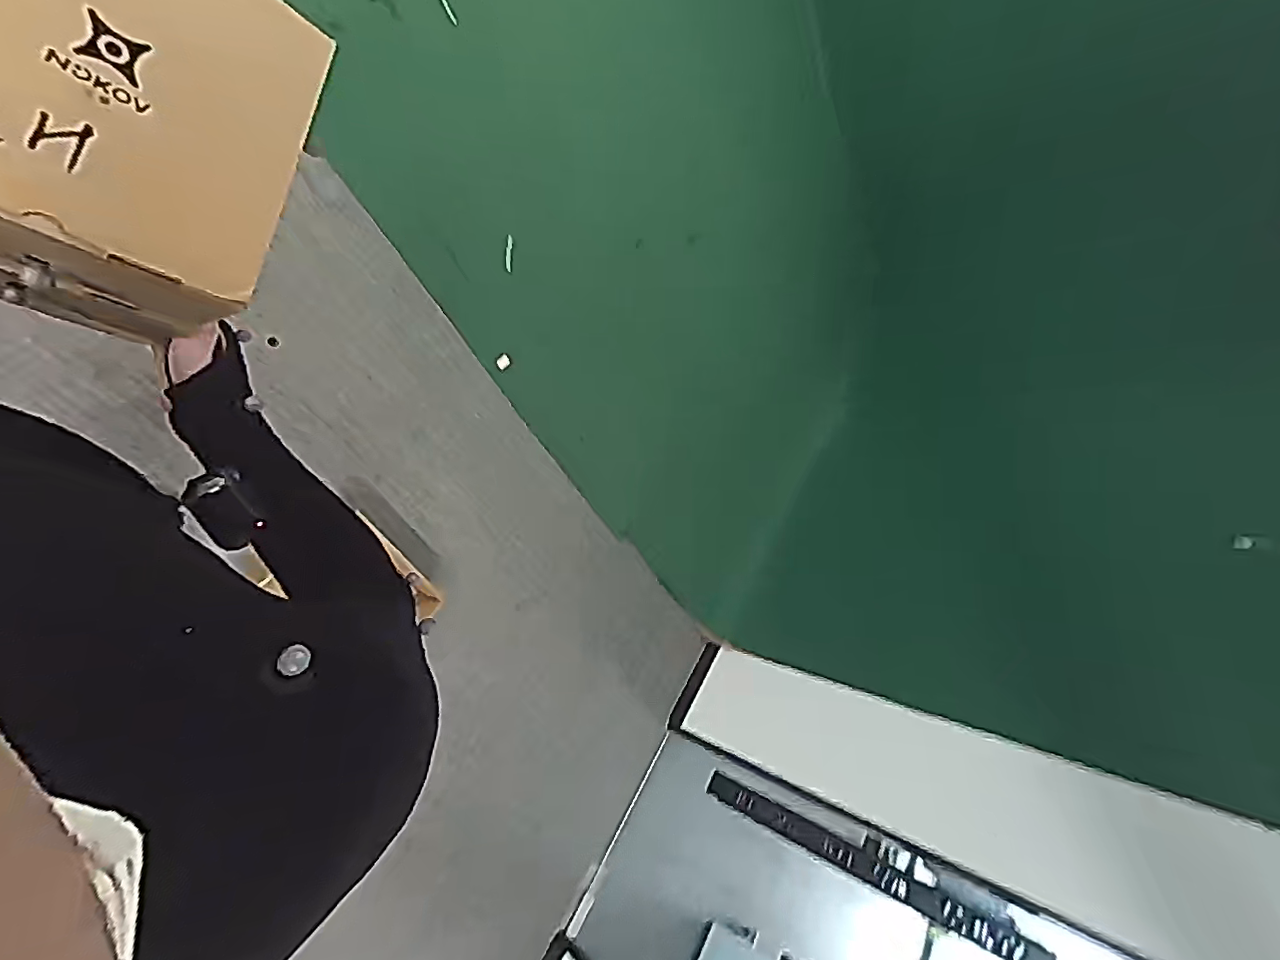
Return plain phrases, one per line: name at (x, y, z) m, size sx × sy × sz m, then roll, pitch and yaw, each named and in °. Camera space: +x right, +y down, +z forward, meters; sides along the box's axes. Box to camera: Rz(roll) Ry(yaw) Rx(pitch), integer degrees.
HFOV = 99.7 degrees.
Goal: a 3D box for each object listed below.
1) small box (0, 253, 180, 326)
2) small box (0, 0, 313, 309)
small box at (-0.443, -0.234, 0.412) m, size 0.168 × 0.176 × 0.179 m, roll 18°, pitch 85°, yaw -47°
small box at (-0.321, -0.215, 0.303) m, size 0.168 × 0.176 × 0.179 m, roll 19°, pitch 84°, yaw -47°
